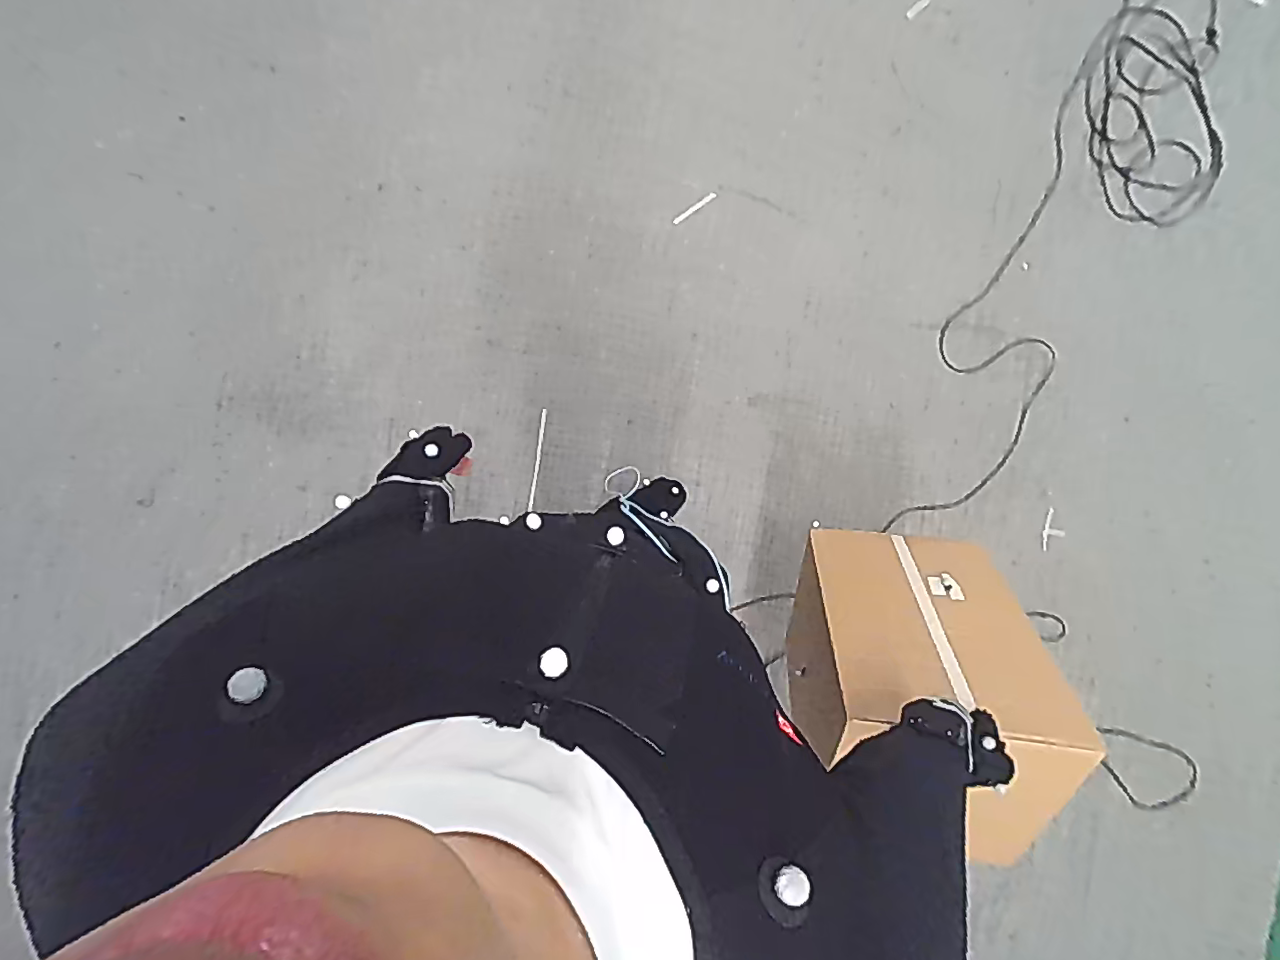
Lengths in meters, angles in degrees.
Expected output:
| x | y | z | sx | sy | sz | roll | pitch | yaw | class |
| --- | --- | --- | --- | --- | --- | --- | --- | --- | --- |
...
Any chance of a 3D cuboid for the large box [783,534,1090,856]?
| x | y | z | sx | sy | sz | roll | pitch | yaw | class |
| --- | --- | --- | --- | --- | --- | --- | --- | --- | --- |
| 0.443 | 0.347 | 0.939 | 0.320 | 0.408 | 0.320 | 7 | 122 | 5 | large box |
